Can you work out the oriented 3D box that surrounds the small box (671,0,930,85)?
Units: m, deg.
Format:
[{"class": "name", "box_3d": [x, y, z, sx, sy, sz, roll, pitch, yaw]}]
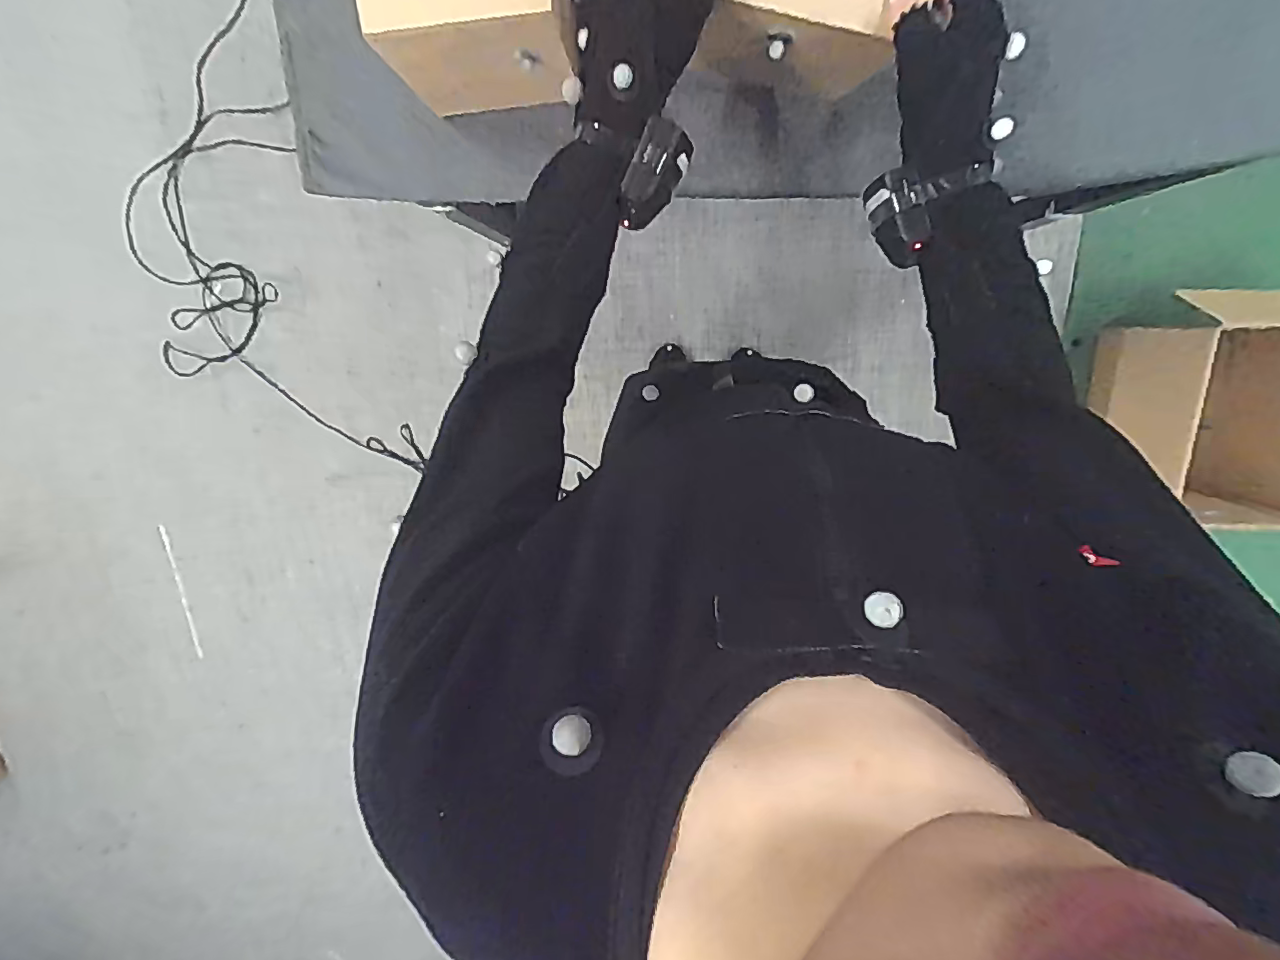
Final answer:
[{"class": "small box", "box_3d": [0.129, -0.443, 0.428, 0.179, 0.176, 0.168, 7, 114, -9]}]
